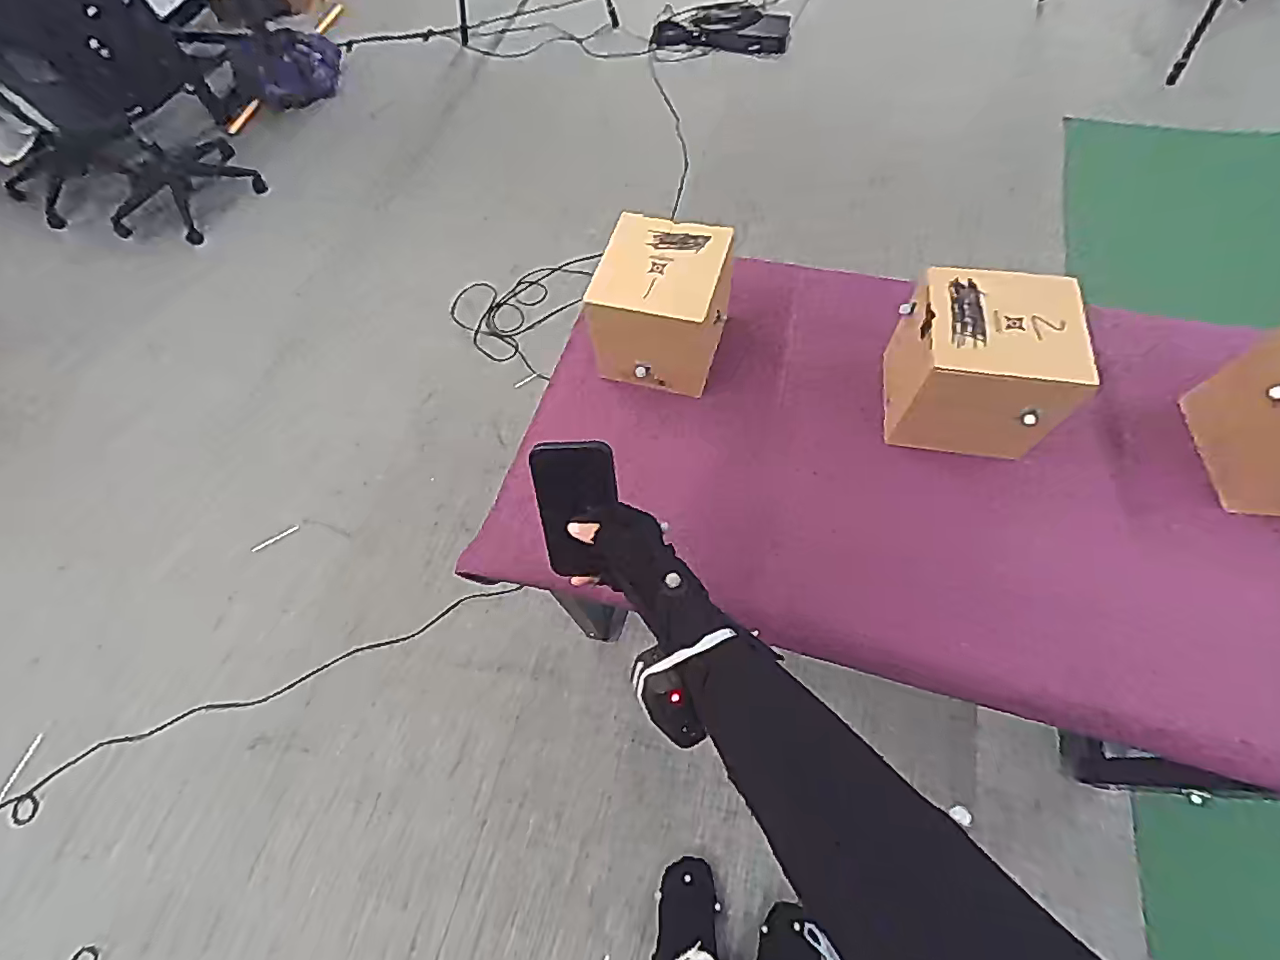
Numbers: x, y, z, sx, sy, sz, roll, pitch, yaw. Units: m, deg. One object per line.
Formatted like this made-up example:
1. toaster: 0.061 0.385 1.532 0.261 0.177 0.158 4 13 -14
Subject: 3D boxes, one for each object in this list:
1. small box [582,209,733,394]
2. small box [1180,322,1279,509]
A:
1. small box: 0.030 -0.256 0.790 0.168 0.176 0.179 14 67 12
2. small box: 0.806 -0.068 0.632 0.168 0.176 0.179 3 63 7
